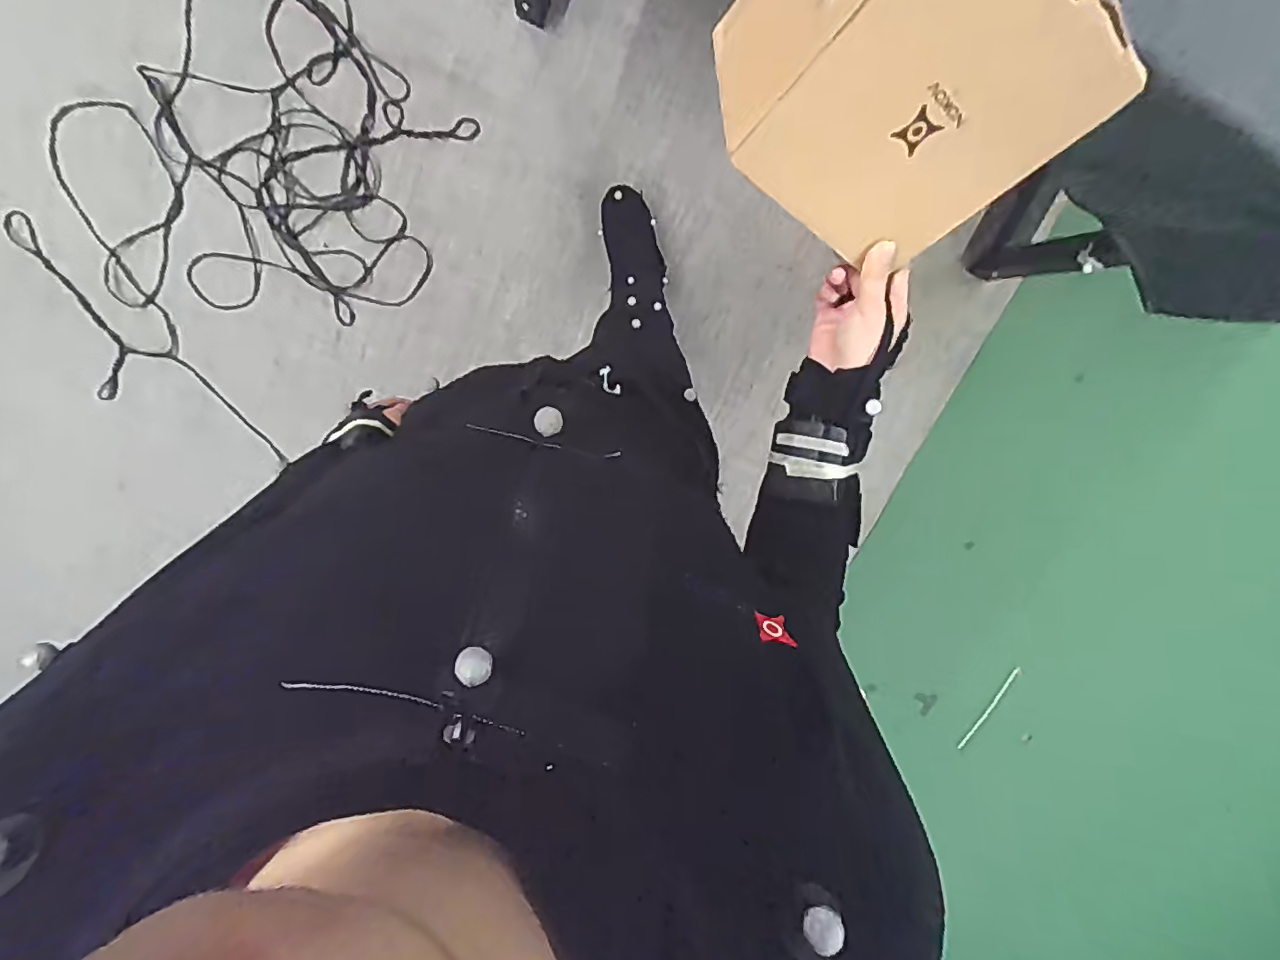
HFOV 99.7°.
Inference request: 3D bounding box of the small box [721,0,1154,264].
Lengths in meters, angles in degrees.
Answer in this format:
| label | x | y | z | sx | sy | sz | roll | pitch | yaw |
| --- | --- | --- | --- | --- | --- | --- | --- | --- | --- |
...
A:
| label | x | y | z | sx | sy | sz | roll | pitch | yaw |
| --- | --- | --- | --- | --- | --- | --- | --- | --- | --- |
| small box | 0.168 | -0.292 | 0.356 | 0.168 | 0.176 | 0.179 | 19 | 144 | -31 |
